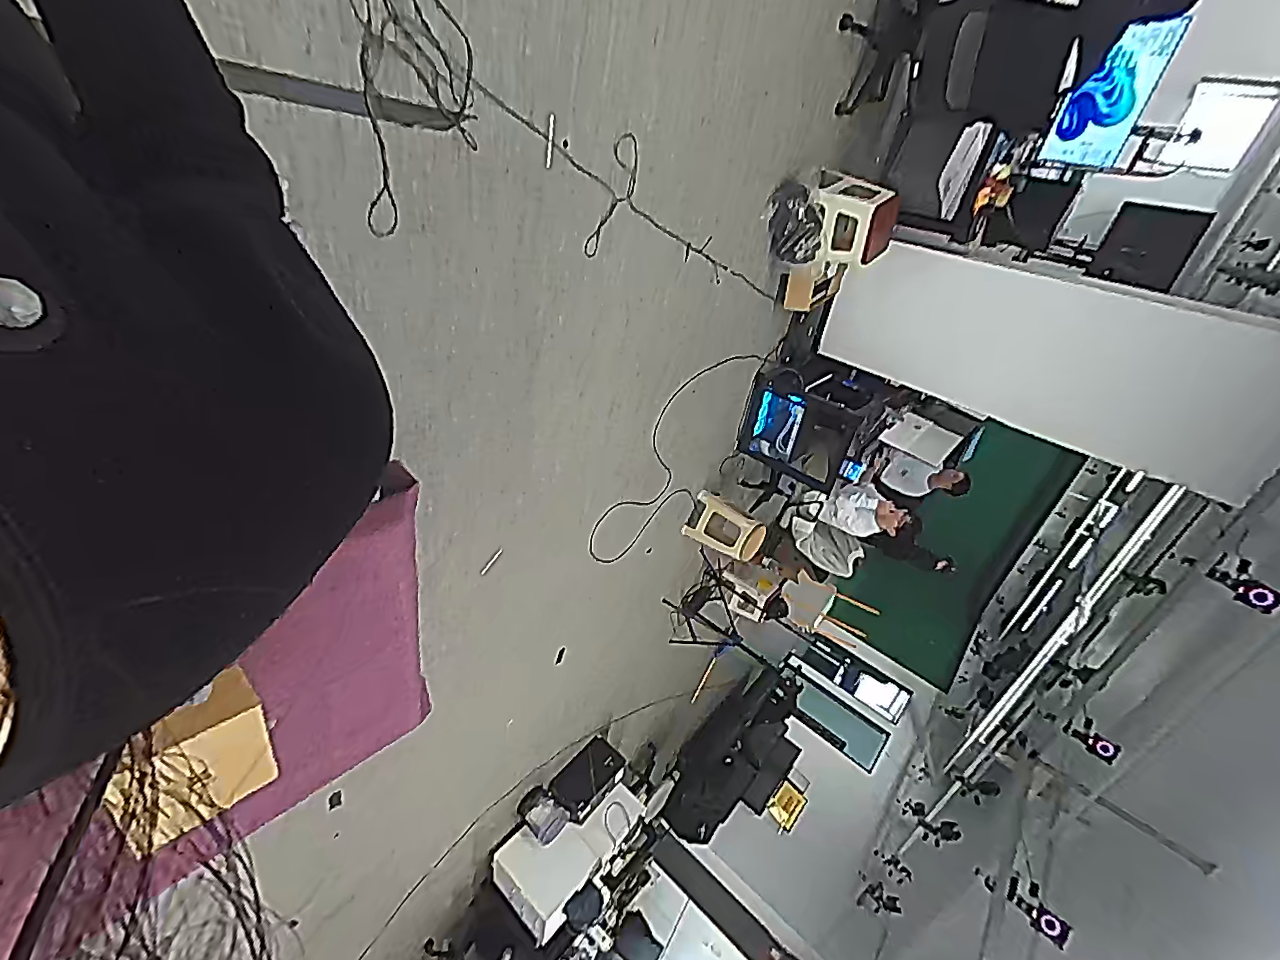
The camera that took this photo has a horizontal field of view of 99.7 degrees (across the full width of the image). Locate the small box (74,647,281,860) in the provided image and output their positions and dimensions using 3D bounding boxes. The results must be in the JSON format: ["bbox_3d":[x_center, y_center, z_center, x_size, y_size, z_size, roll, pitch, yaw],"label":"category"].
[{"bbox_3d":[-0.636,0.361,0.752,0.168,0.176,0.179,-24,136,-46],"label":"small box"}]
